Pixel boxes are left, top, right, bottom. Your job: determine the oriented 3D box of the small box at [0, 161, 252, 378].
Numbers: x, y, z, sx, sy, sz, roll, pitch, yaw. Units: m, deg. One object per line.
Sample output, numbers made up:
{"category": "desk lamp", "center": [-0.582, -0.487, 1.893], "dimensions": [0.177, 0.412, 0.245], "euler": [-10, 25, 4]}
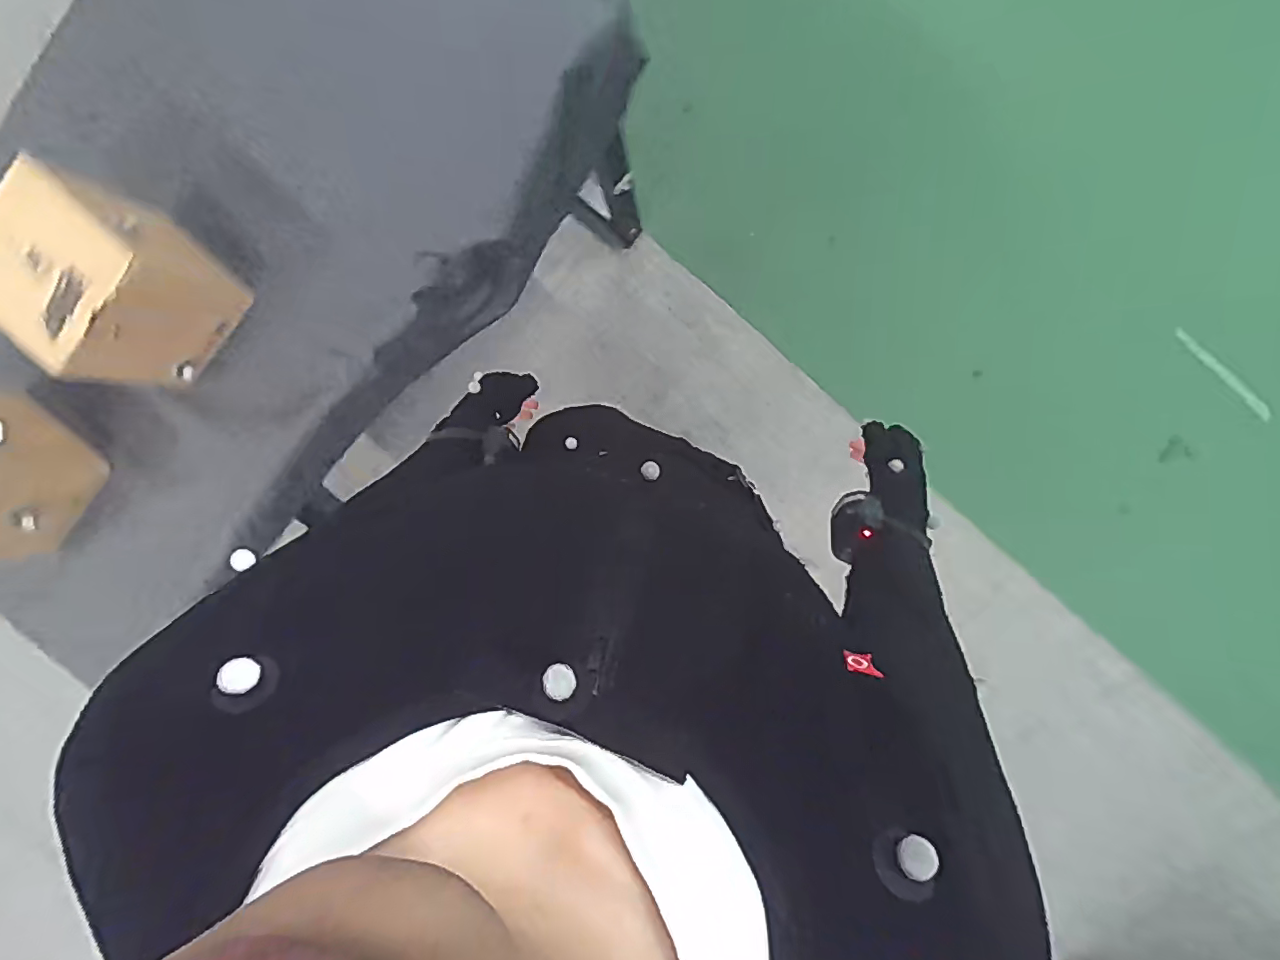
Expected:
{"category": "small box", "center": [-0.652, -0.245, 0.684], "dimensions": [0.179, 0.176, 0.168], "euler": [42, 97, 2]}
